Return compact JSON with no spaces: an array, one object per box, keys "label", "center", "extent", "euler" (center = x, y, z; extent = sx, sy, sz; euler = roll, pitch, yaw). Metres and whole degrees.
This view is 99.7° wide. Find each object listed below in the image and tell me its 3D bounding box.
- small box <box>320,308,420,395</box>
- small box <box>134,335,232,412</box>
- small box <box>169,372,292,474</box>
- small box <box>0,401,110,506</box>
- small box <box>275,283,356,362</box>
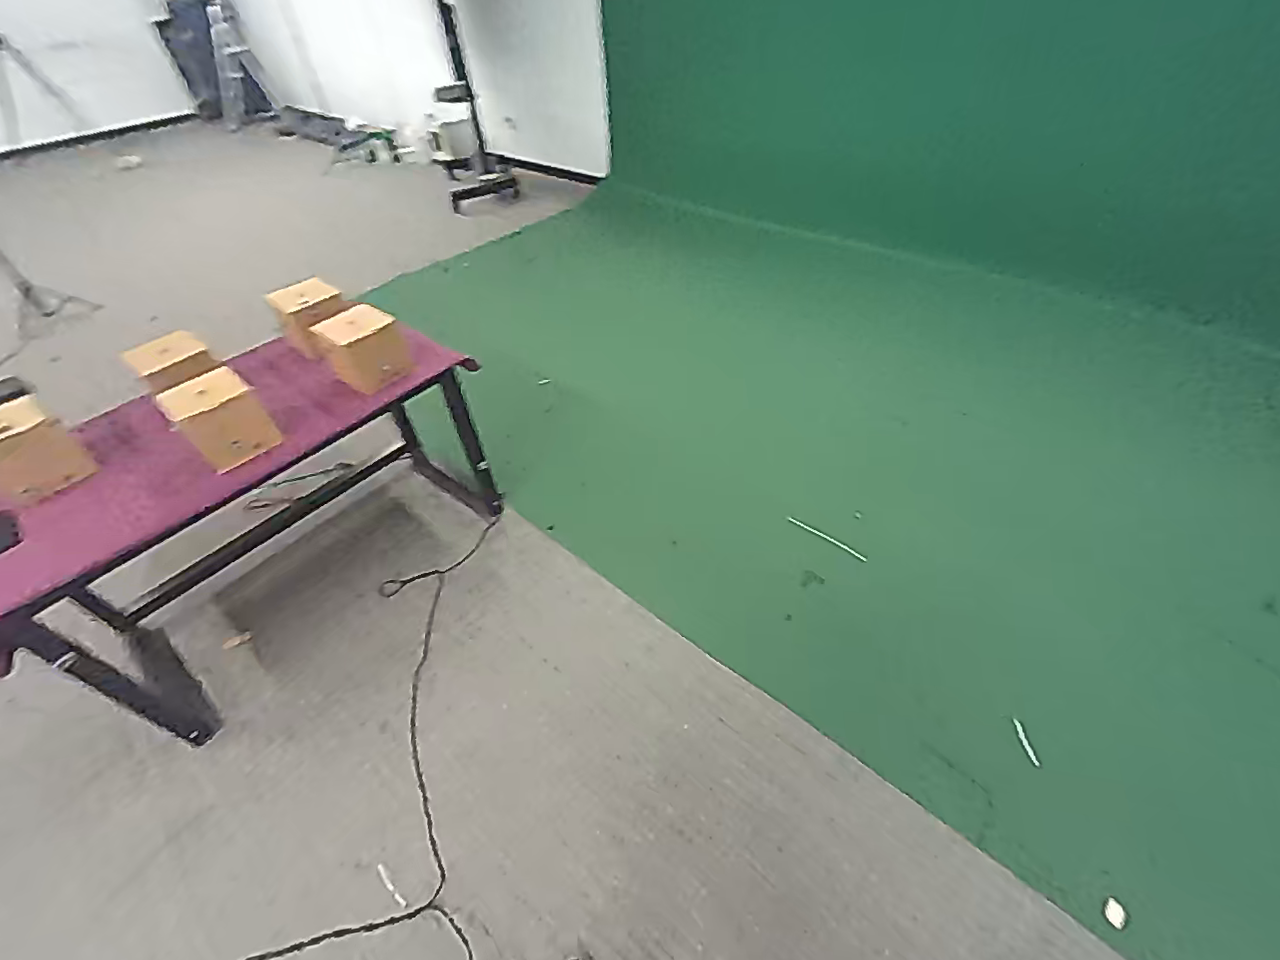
[{"label":"small box","center":[-0.783,-0.373,1.580],"extent":[0.179,0.176,0.168],"euler":[29,56,28]},{"label":"small box","center":[-1.268,-0.281,1.539],"extent":[0.179,0.176,0.168],"euler":[29,55,28]},{"label":"small box","center":[-1.042,-0.144,1.383],"extent":[0.179,0.176,0.168],"euler":[30,55,31]},{"label":"small box","center":[-1.481,-0.061,1.338],"extent":[0.179,0.176,0.168],"euler":[28,54,29]},{"label":"small box","center":[-1.017,-0.504,1.734],"extent":[0.179,0.176,0.168],"euler":[30,56,30]}]
